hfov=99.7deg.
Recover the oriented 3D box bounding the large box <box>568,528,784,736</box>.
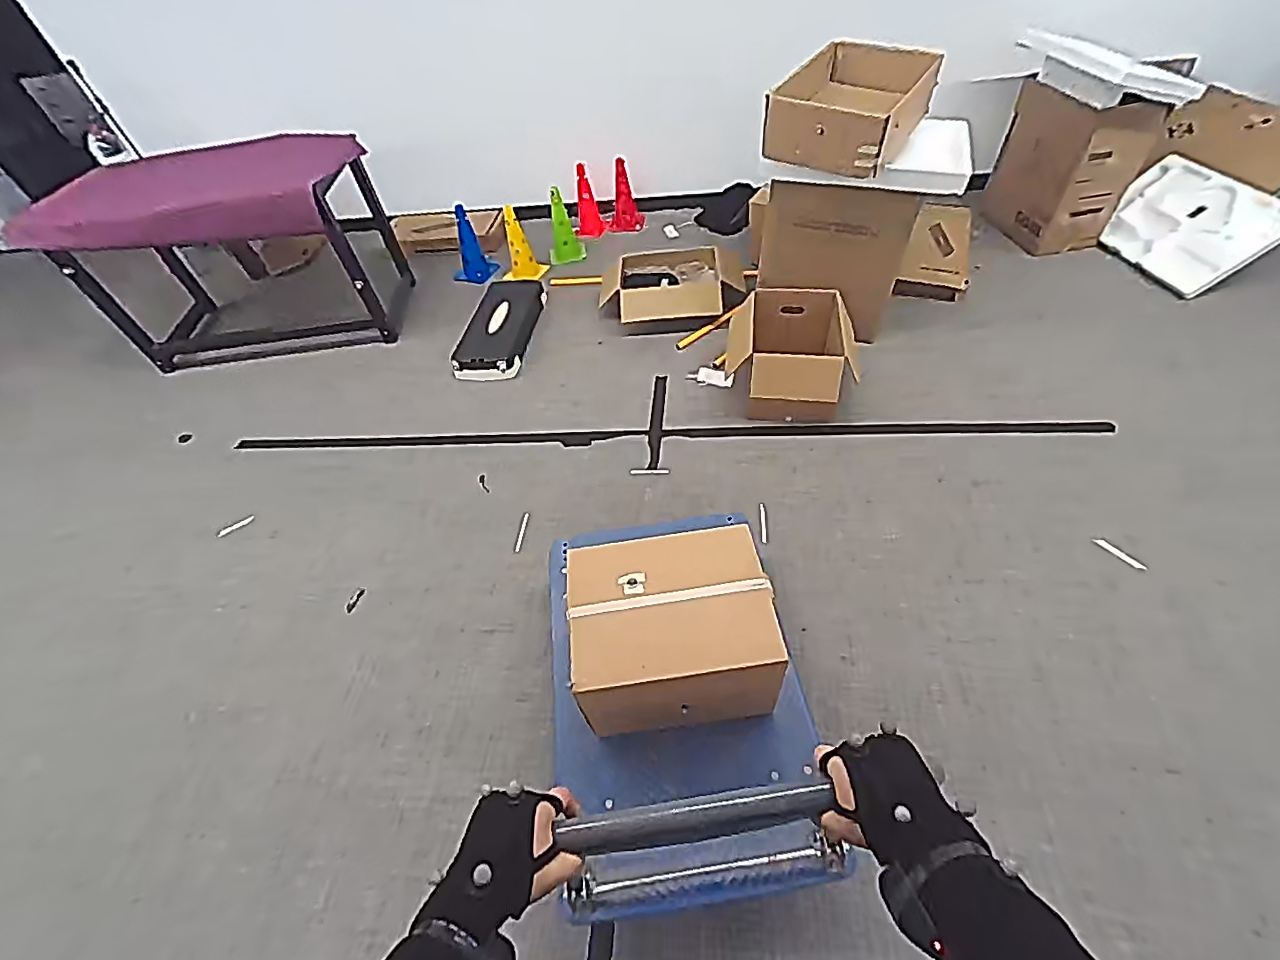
[{"bbox_3d":[0.073,0.349,1.221,0.408,0.320,0.320,-10,49,0],"label":"large box"}]
